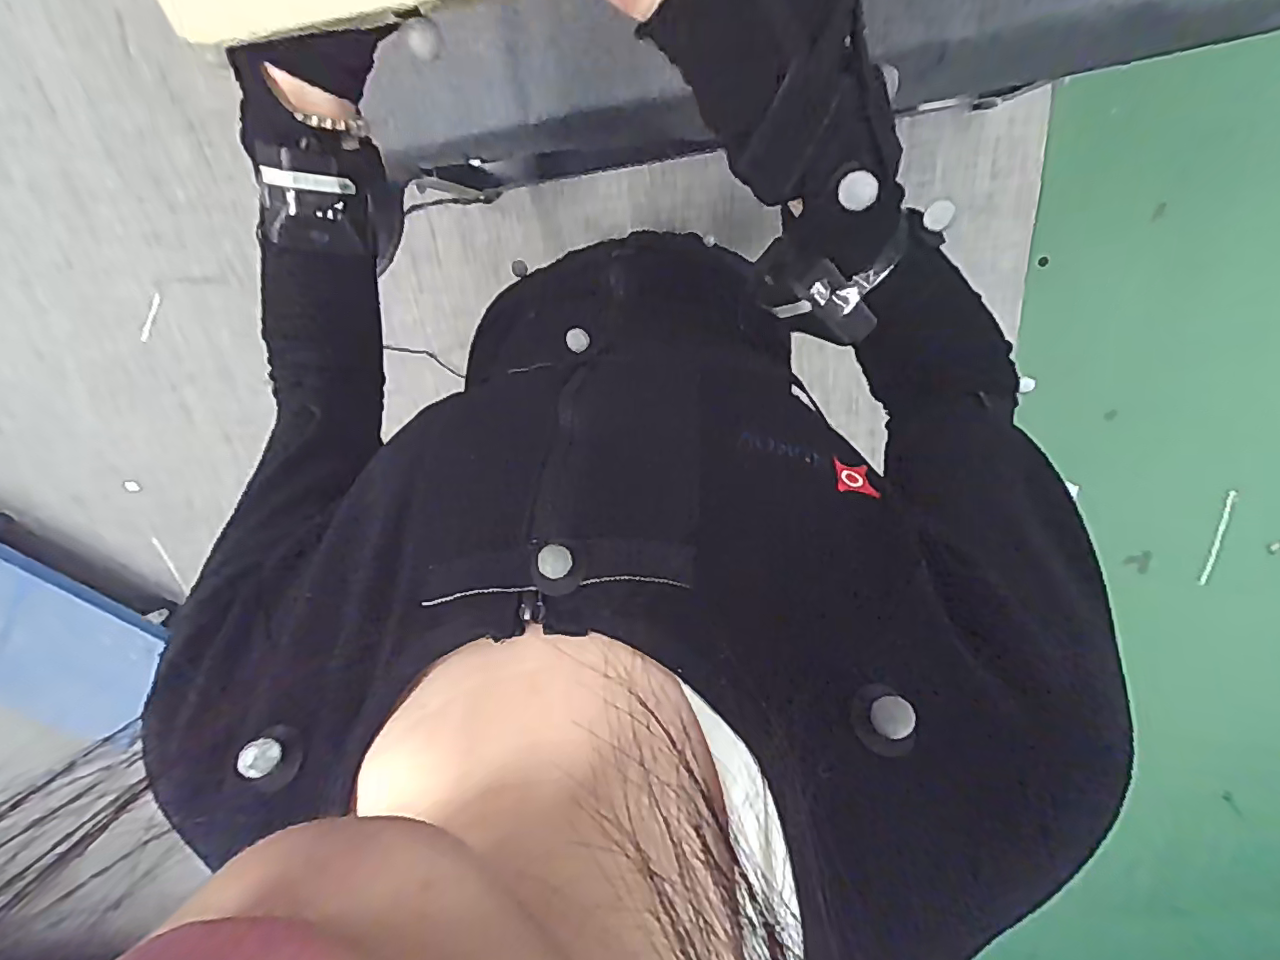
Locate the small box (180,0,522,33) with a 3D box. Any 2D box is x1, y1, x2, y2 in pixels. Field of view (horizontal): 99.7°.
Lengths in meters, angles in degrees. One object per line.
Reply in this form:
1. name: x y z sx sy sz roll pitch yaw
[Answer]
1. small box: -0.090 -0.289 0.202 0.179 0.176 0.168 -4 131 7
